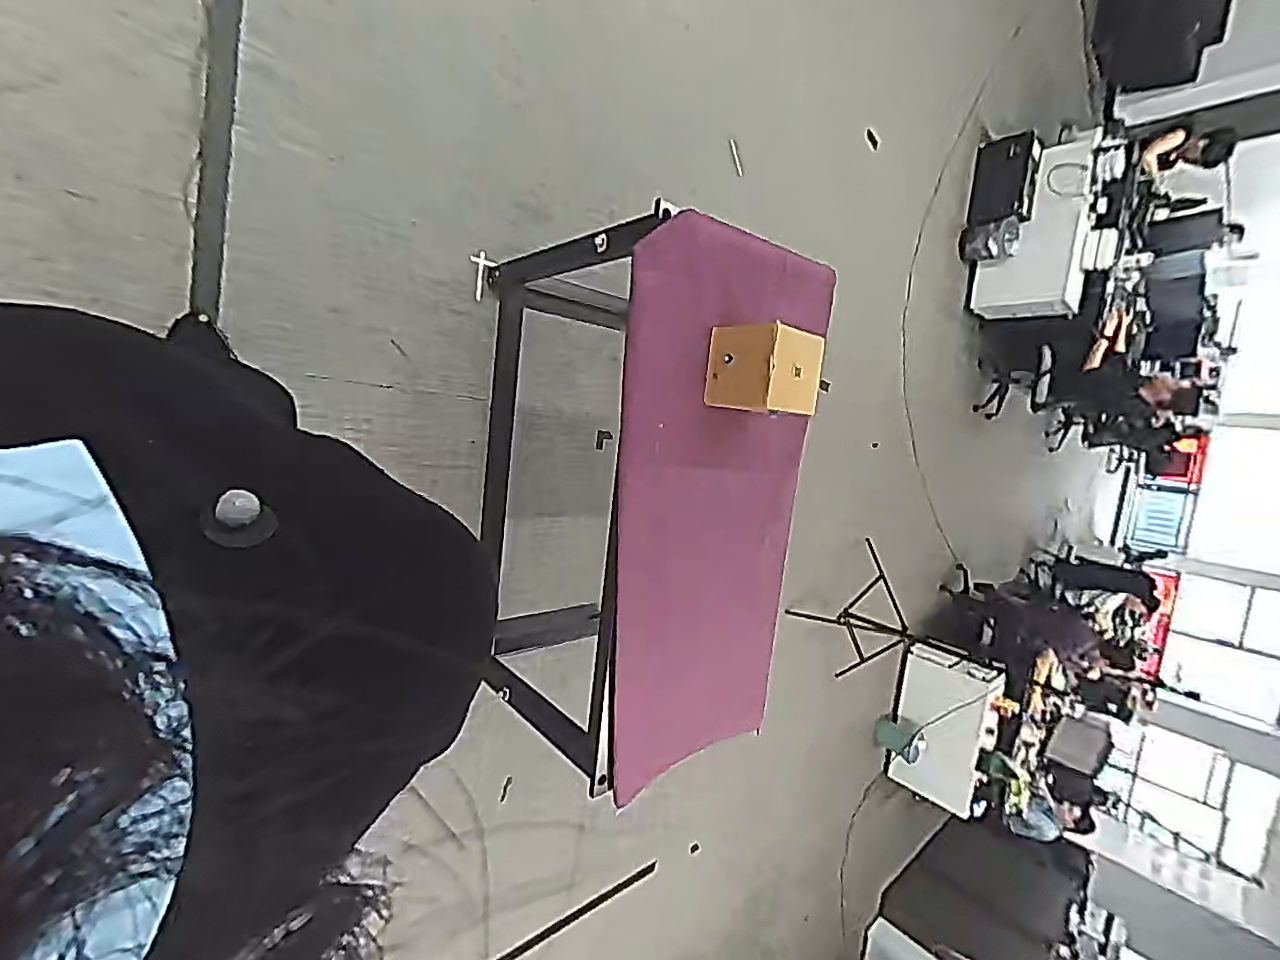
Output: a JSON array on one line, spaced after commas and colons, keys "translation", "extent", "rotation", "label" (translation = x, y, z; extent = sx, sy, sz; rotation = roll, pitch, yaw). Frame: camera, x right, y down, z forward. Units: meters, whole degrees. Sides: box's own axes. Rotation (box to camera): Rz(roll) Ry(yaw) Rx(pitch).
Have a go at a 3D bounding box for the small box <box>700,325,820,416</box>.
[{"translation": [0.256, -0.233, 1.161], "extent": [0.179, 0.176, 0.168], "rotation": [0, 100, -41], "label": "small box"}]
